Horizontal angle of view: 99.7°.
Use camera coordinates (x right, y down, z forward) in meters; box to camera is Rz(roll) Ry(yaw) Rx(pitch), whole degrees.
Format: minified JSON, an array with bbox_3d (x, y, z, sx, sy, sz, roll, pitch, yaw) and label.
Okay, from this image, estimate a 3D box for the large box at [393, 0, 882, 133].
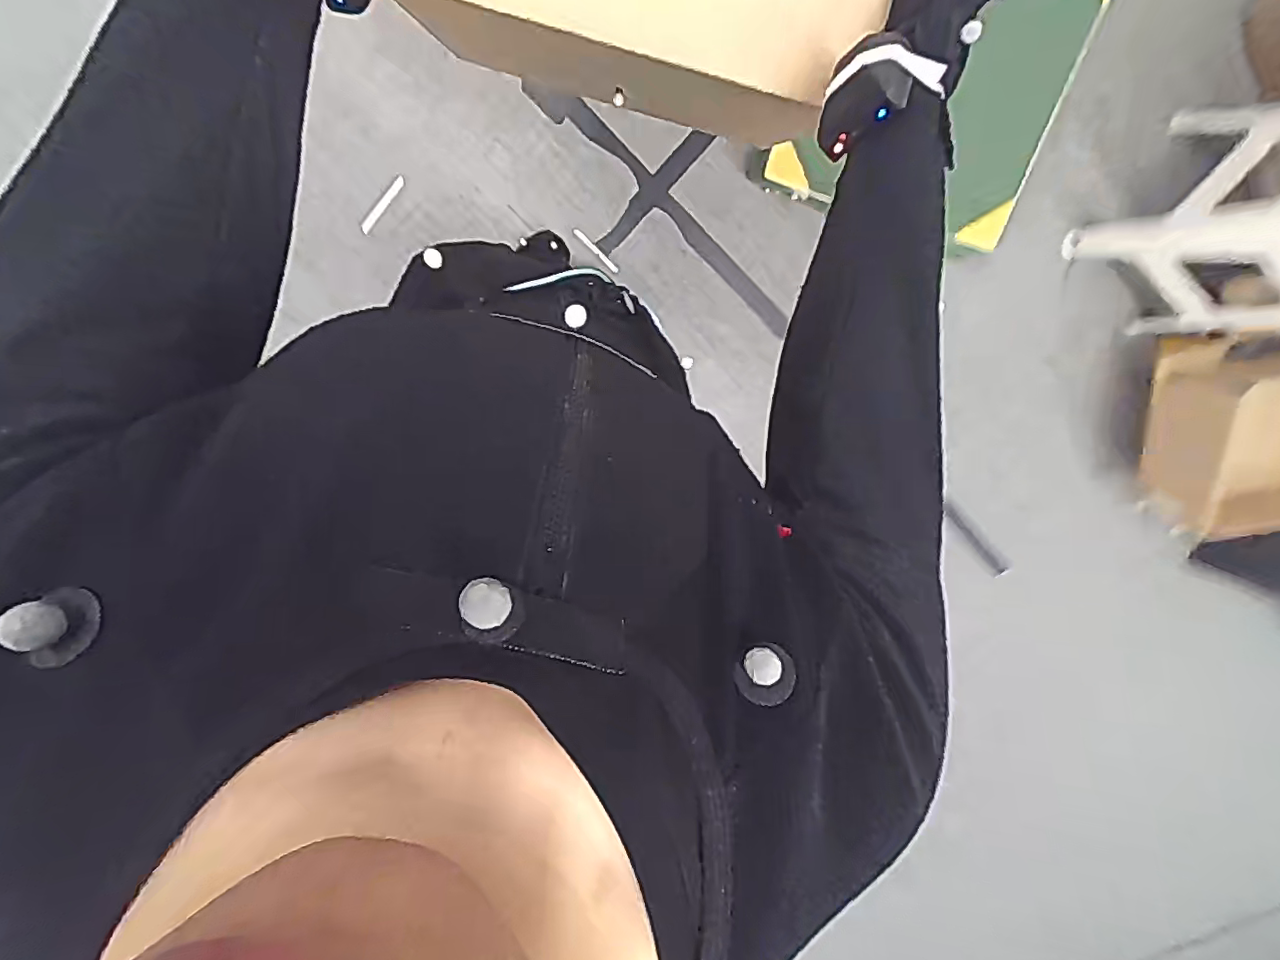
[{"bbox_3d":[0.008,-0.547,0.491,0.408,0.320,0.320,10,116,-8],"label":"large box"}]
